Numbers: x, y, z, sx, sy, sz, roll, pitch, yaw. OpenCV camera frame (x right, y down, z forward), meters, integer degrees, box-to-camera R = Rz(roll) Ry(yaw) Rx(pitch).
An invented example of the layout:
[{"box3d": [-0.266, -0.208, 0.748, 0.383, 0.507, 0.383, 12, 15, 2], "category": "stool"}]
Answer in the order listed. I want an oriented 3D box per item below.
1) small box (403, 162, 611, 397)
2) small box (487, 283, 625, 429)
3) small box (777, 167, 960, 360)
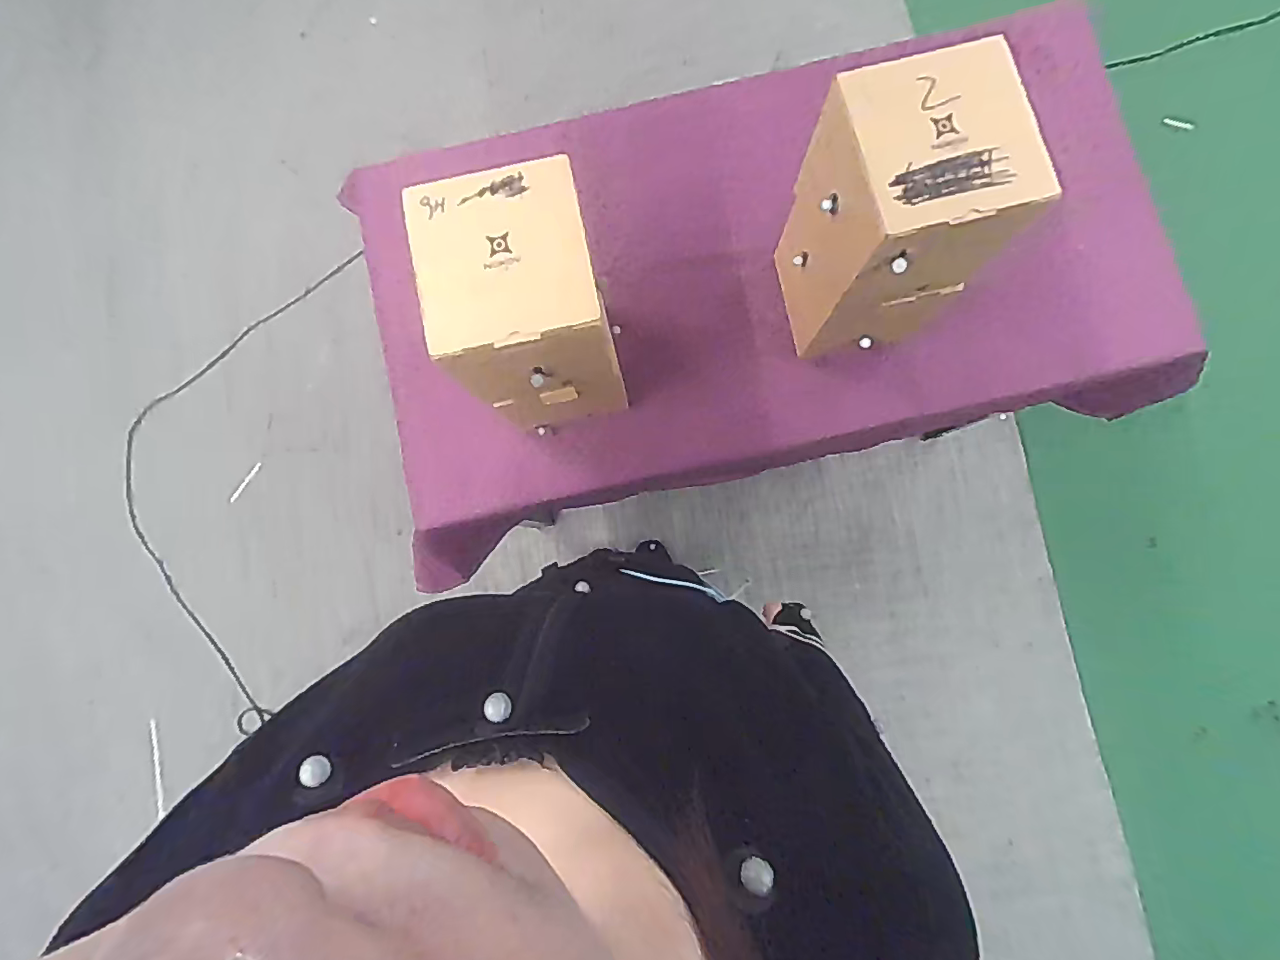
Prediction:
[{"box3d": [-0.130, -0.198, 0.589, 0.168, 0.176, 0.179, -12, 84, 0], "category": "small box"}, {"box3d": [-0.121, -0.178, 0.752, 0.168, 0.176, 0.179, -14, 82, 0], "category": "small box"}, {"box3d": [0.299, -0.287, 0.749, 0.168, 0.176, 0.179, -11, 83, 1], "category": "small box"}]
